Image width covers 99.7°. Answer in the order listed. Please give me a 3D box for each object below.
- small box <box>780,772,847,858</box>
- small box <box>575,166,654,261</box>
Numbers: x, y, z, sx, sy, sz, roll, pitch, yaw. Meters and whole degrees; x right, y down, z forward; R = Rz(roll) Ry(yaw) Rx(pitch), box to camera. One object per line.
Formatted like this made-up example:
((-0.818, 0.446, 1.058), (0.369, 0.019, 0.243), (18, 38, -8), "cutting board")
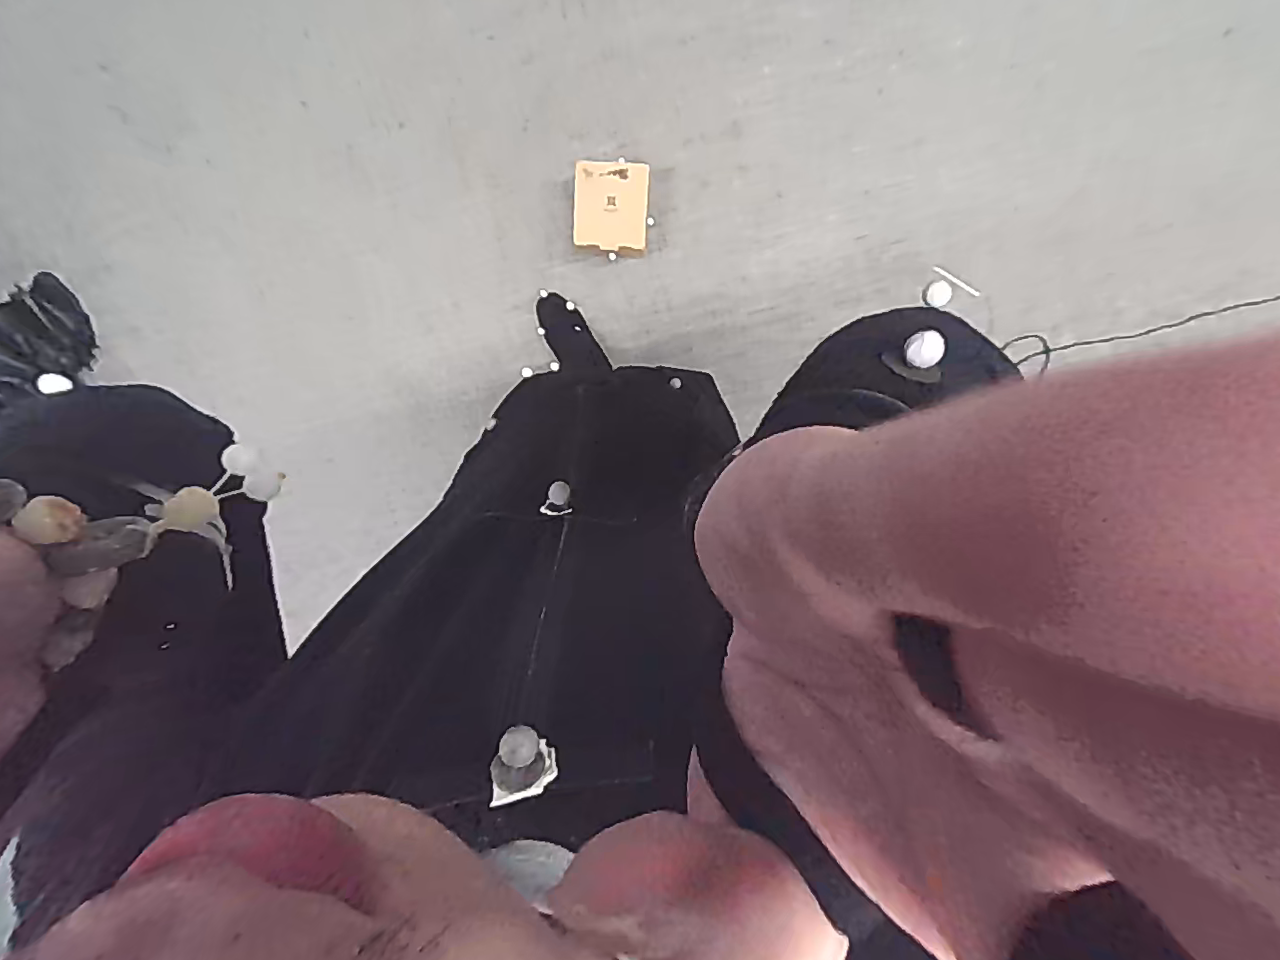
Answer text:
((0.554, 1.066, 1.739), (0.168, 0.176, 0.179), (-9, 106, 6), "small box")
((-0.056, -0.623, 1.283), (0.168, 0.176, 0.179), (4, 107, 2), "small box")
